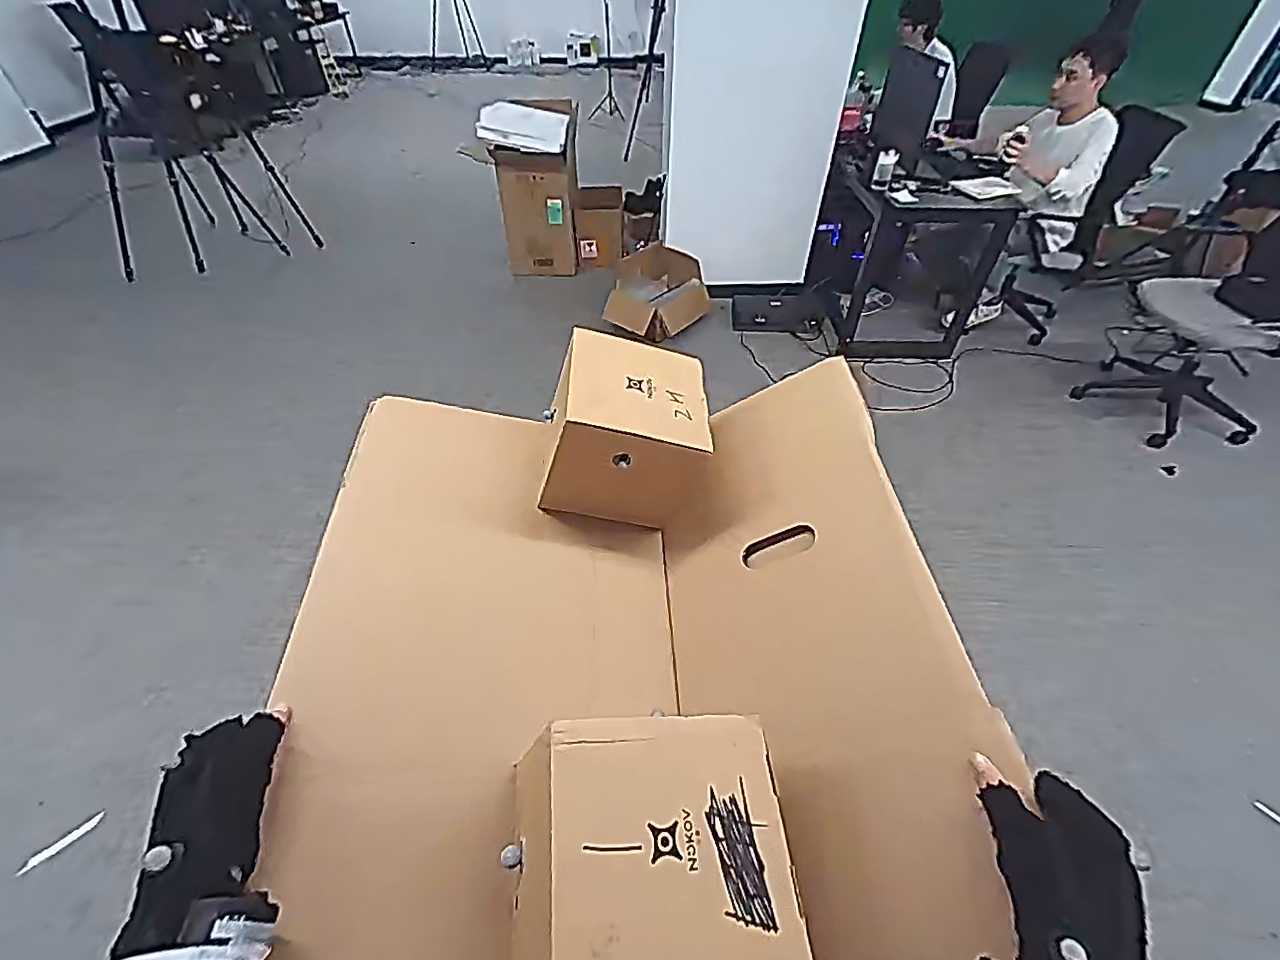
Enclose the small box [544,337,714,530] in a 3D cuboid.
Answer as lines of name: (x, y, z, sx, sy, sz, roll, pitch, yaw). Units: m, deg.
small box: (-0.021, -0.052, 0.710, 0.179, 0.176, 0.168, 13, 50, -15)
